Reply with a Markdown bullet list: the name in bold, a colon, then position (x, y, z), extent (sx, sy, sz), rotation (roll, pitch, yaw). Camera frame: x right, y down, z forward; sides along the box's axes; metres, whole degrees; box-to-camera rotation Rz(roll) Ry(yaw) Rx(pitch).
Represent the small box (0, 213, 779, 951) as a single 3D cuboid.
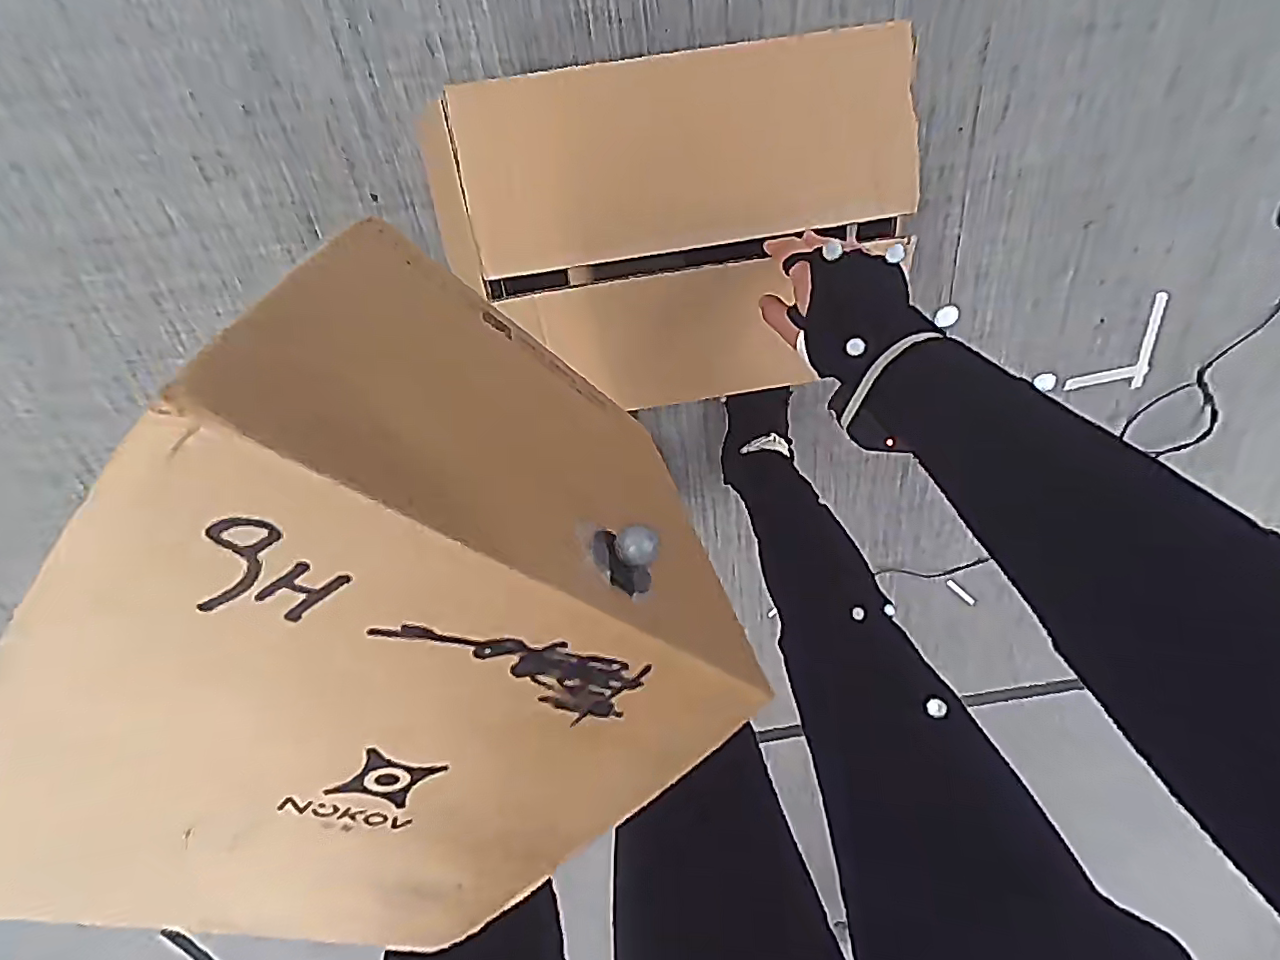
- **small box**: position (-0.087, 0.036, 0.204), extent (0.179, 0.176, 0.168), rotation (-43, 124, 17)
